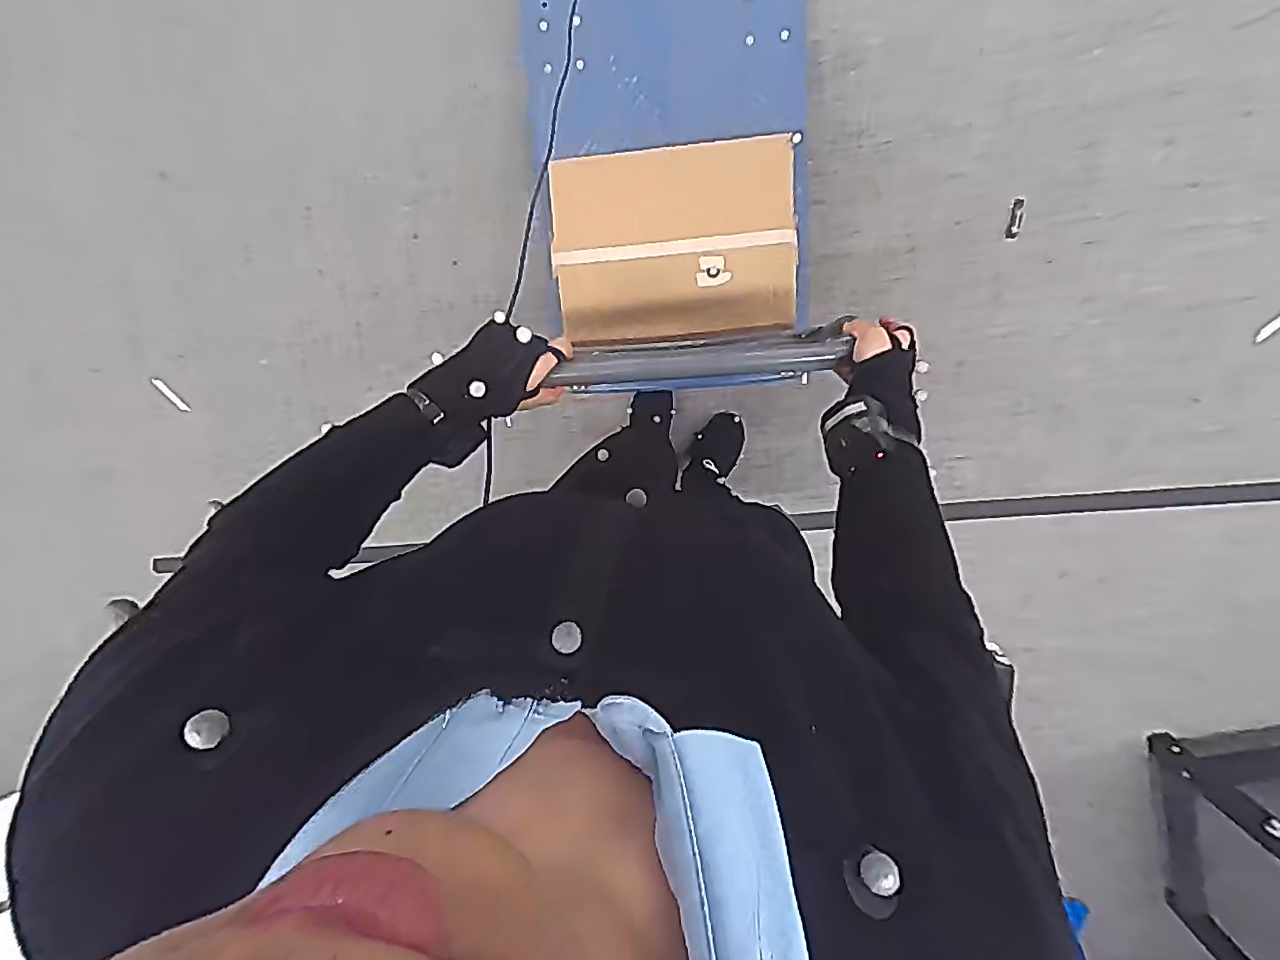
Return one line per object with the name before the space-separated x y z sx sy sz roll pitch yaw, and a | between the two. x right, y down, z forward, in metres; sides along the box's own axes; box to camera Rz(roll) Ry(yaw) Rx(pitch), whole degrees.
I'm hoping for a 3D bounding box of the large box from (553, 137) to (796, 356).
large box | 0.072 -0.424 1.070 0.408 0.320 0.320 -3 102 6
